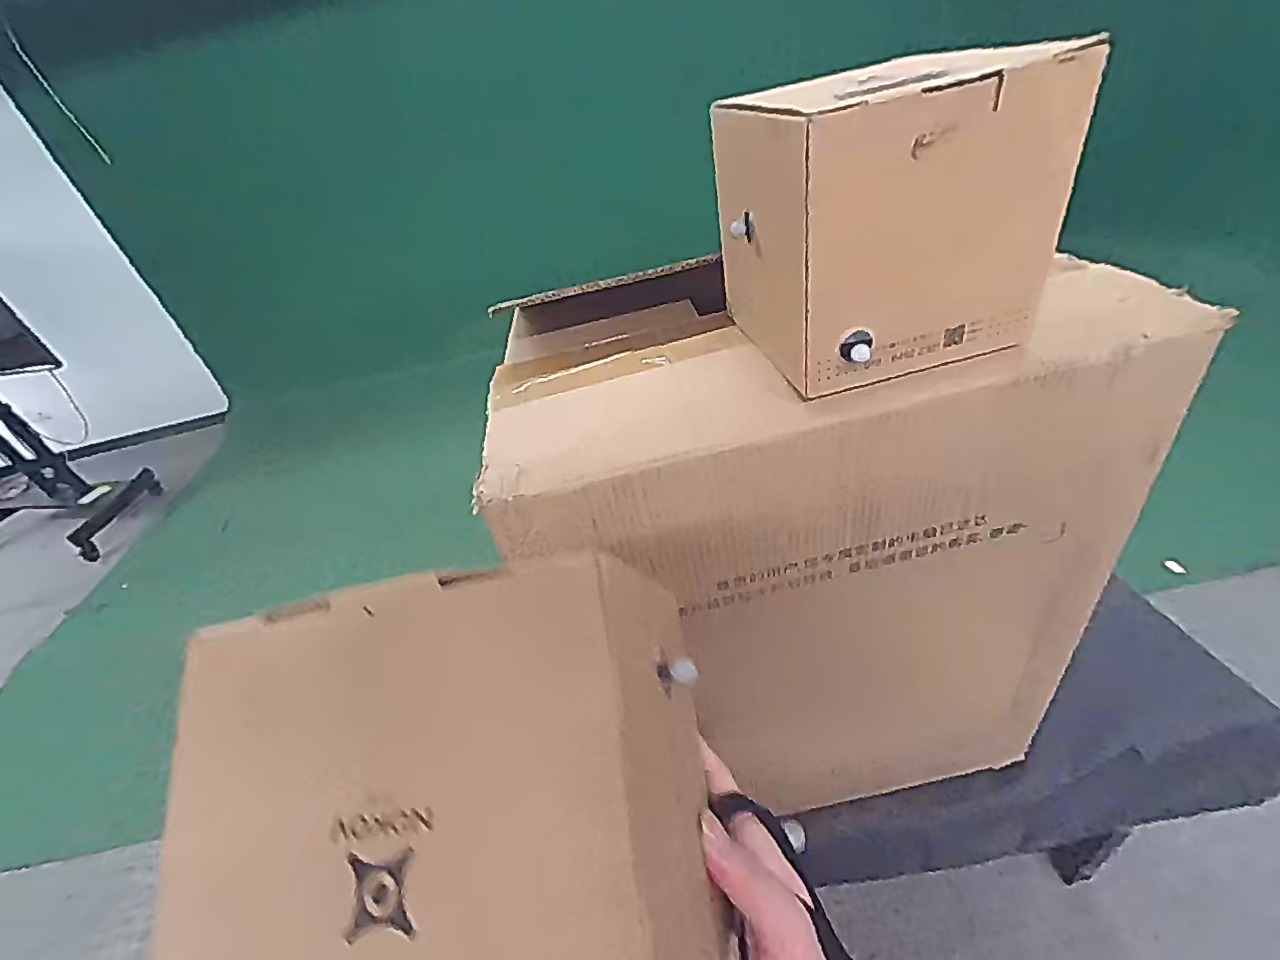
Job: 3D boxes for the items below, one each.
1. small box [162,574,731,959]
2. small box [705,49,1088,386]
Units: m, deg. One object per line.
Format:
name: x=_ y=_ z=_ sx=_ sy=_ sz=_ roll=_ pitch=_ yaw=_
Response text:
small box: x=-0.061 y=0.153 z=0.243 sx=0.168 sy=0.176 sz=0.179 roll=-14 pitch=71 yaw=10
small box: x=0.157 y=-0.183 z=0.392 sx=0.168 sy=0.176 sz=0.179 roll=-15 pitch=36 yaw=-2
